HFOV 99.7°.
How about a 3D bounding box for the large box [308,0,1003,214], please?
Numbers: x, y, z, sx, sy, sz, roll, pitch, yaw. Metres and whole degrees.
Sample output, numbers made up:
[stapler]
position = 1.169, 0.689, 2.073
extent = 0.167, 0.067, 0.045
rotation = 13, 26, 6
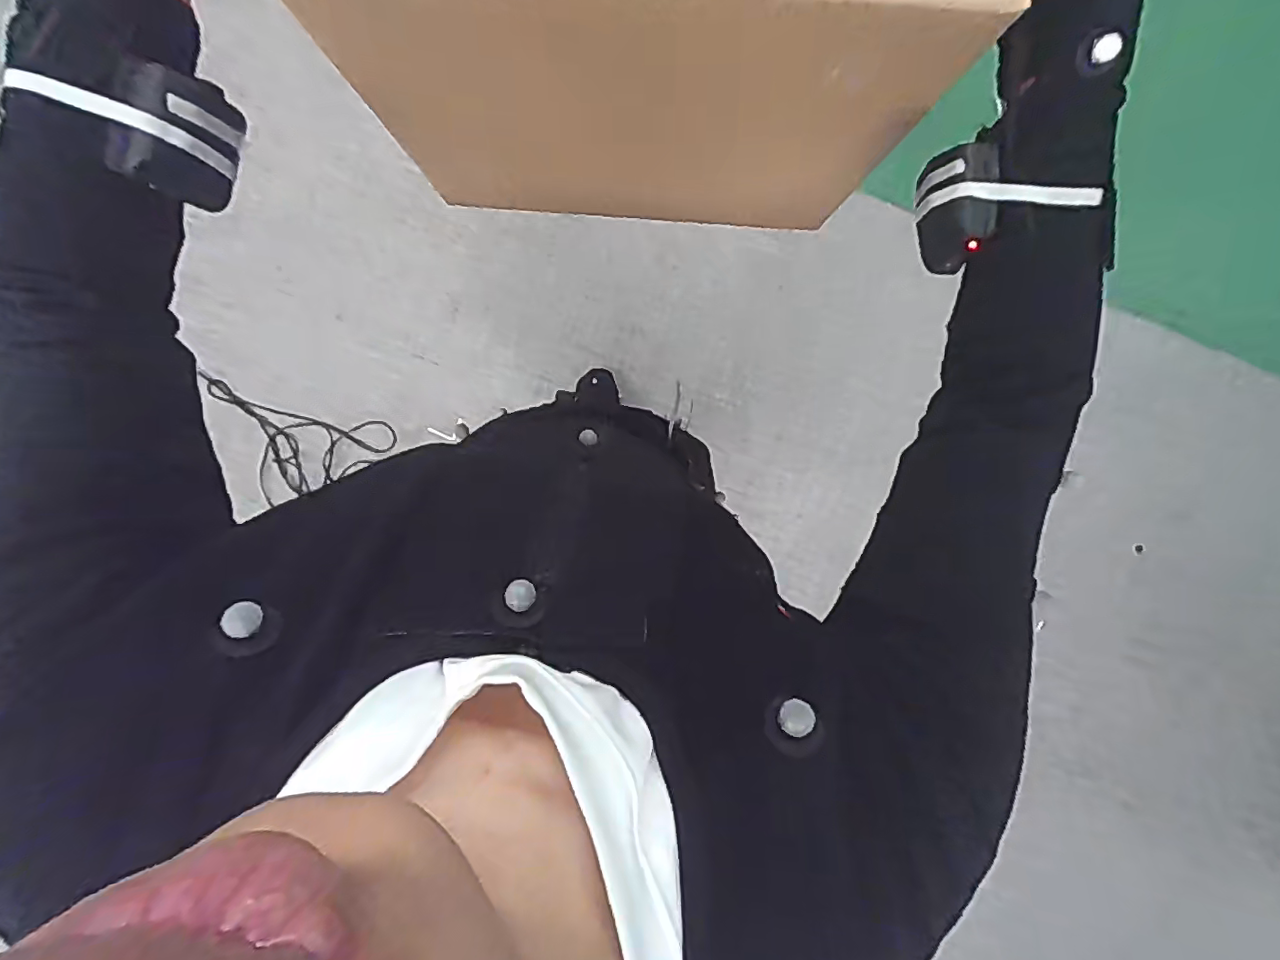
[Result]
[large box]
position = 0.003, -0.428, 0.419
extent = 0.408, 0.320, 0.320
rotation = 3, 96, -2
